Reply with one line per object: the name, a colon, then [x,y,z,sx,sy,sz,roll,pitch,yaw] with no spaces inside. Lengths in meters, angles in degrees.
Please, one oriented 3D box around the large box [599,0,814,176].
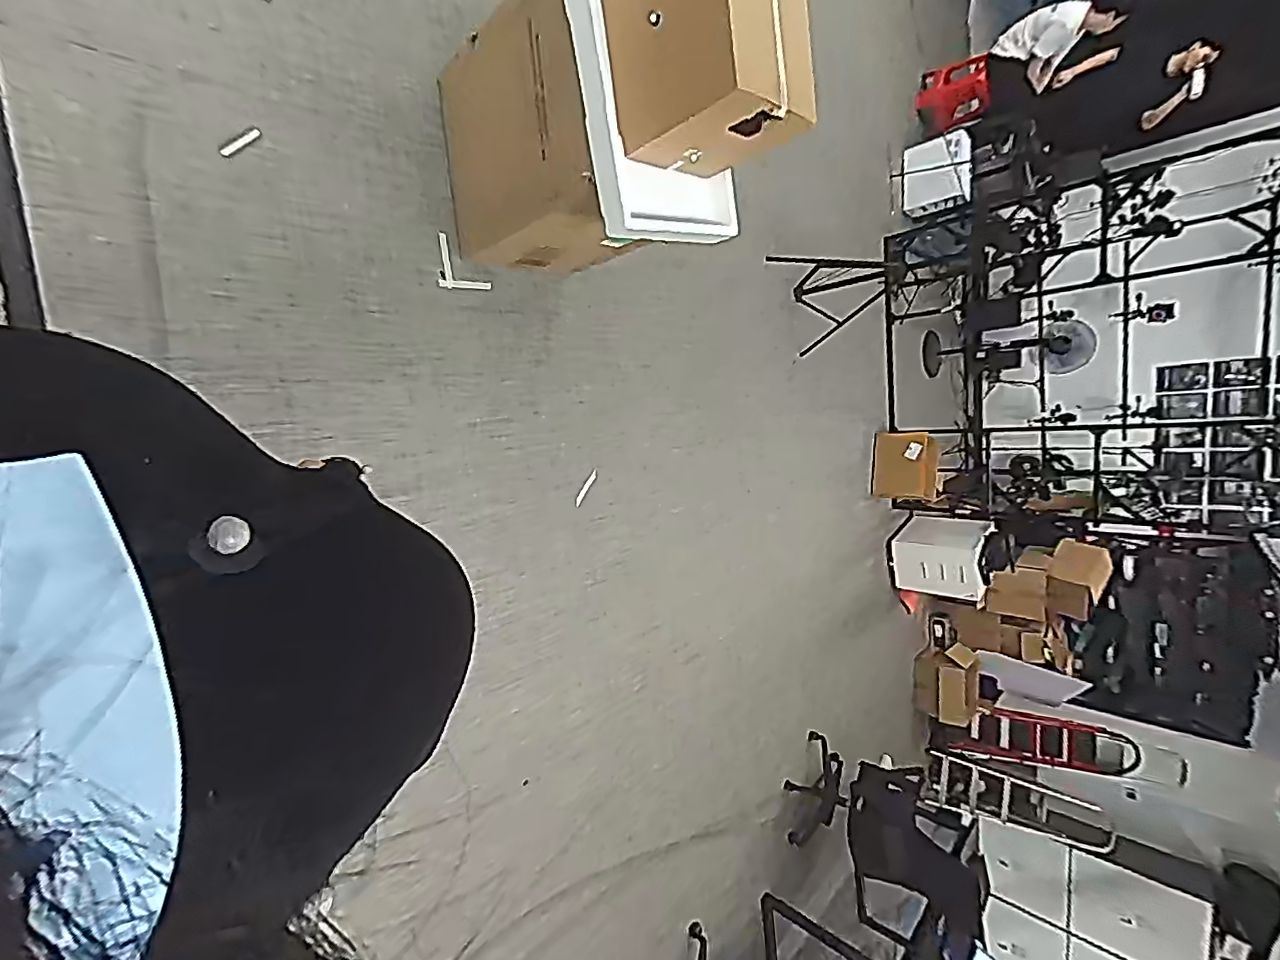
large box: [0.141,-0.935,1.158,0.320,0.320,0.408,-19,103,-44]
